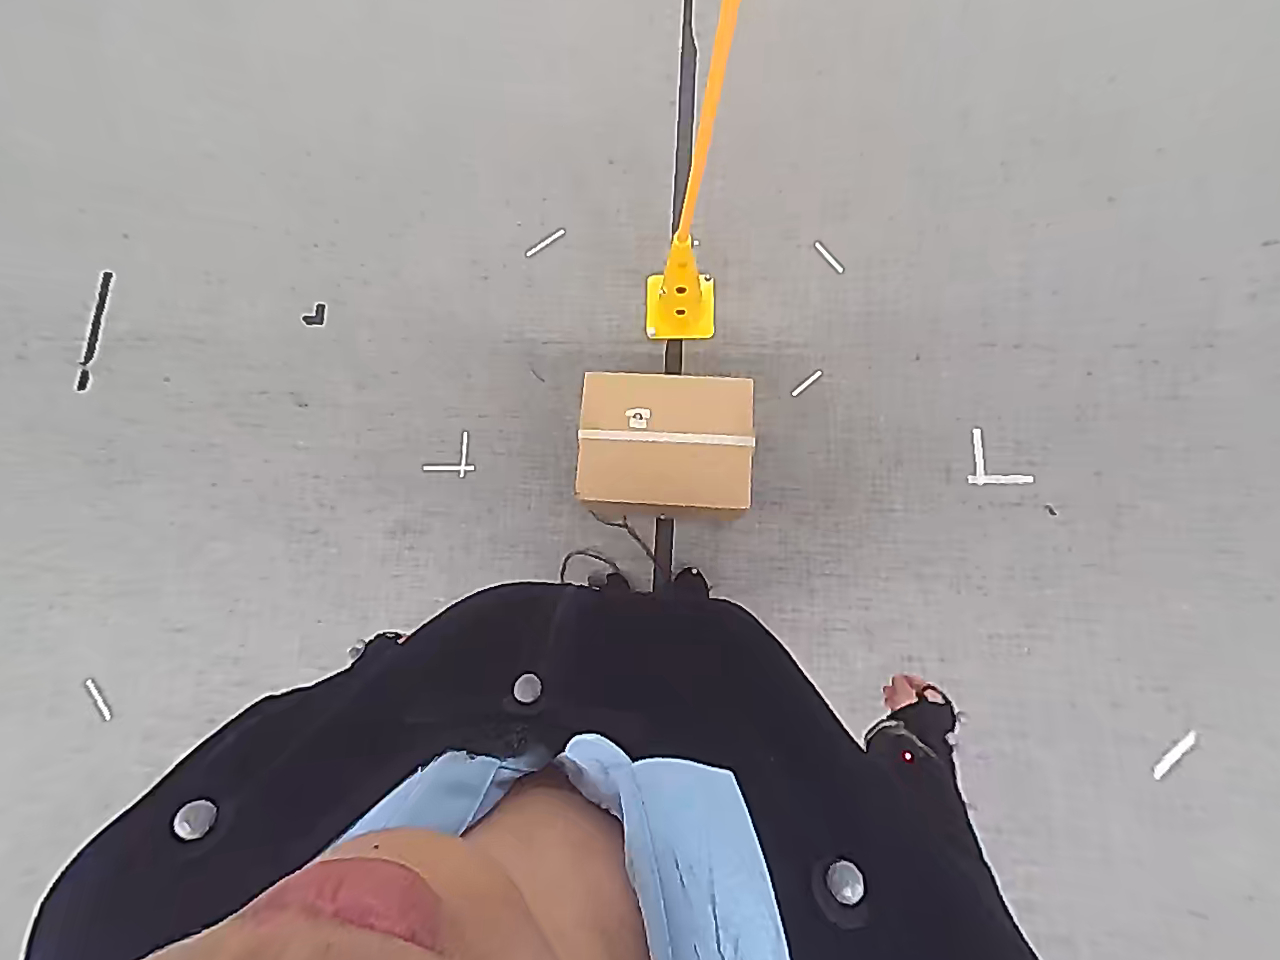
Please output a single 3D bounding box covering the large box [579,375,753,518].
[{"bbox_3d":[0.074,-0.072,1.411,0.408,0.320,0.320,3,80,5],"label":"large box"}]
